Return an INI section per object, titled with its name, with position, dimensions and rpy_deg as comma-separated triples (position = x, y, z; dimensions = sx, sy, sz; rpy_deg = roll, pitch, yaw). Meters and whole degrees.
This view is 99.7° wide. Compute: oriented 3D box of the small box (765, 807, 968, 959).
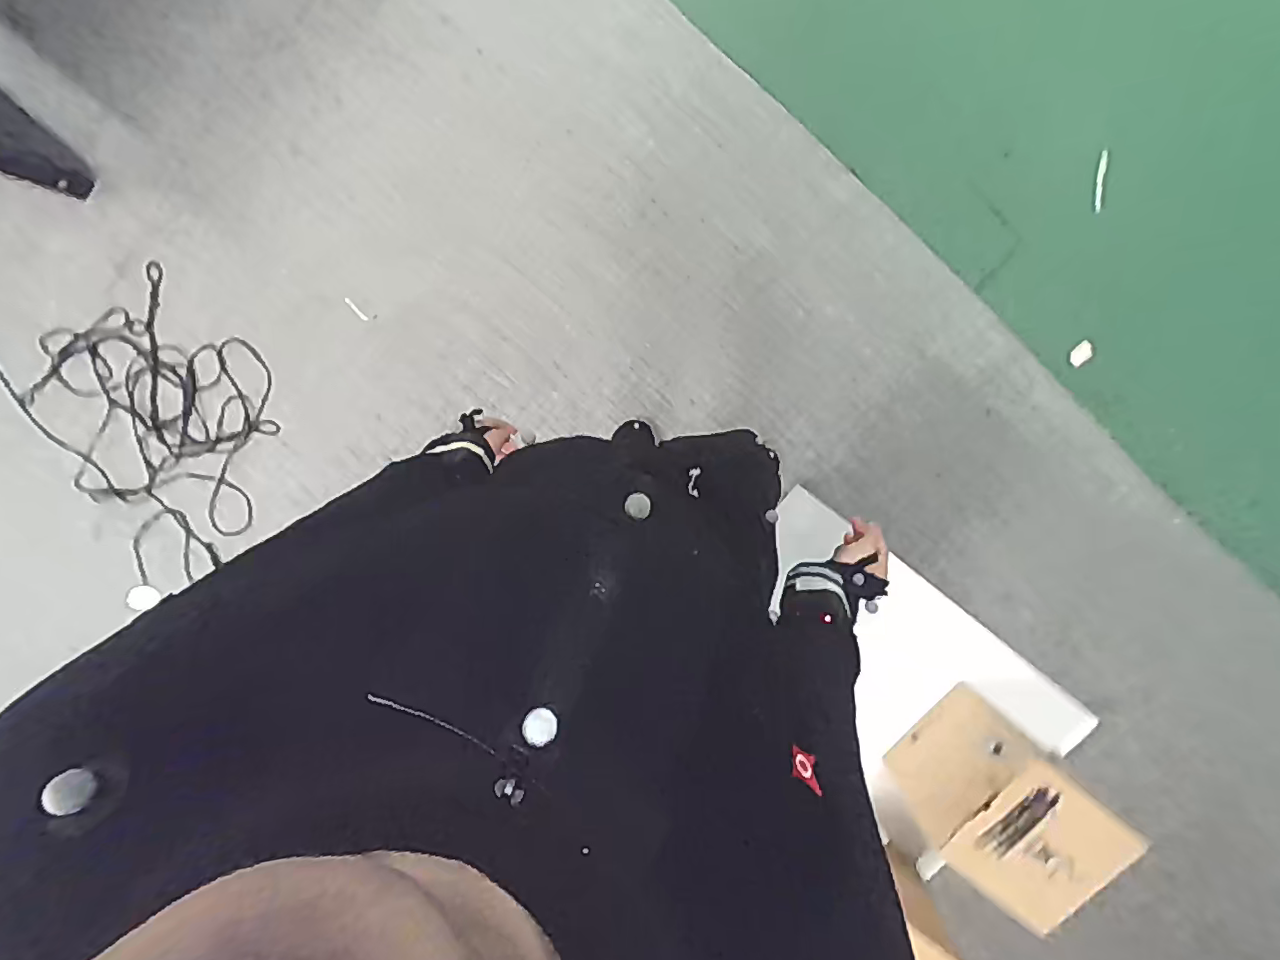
[small box]
position = 0.295, 0.595, 0.742
dimensions = 0.179, 0.176, 0.168
rpy_deg = 39, 100, -4
